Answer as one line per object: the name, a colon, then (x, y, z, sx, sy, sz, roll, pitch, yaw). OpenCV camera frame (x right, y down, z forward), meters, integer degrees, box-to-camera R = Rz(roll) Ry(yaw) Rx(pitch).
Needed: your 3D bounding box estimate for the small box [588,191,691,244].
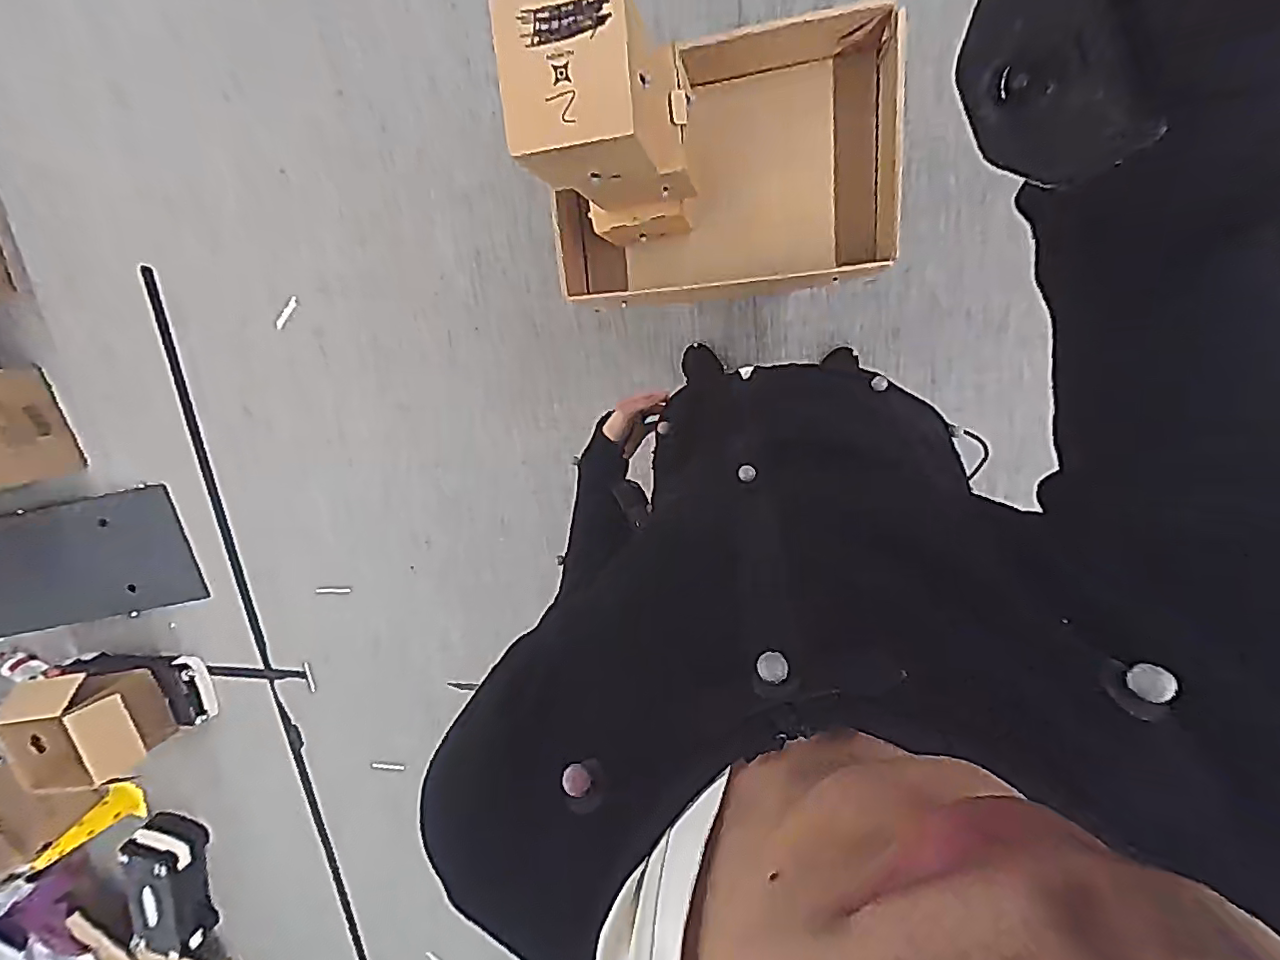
small box: (-0.003, -0.567, 1.026, 0.168, 0.176, 0.179, -7, 103, 15)

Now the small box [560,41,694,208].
small box: (-0.009, -0.548, 0.860, 0.179, 0.176, 0.168, -2, 104, 13)
